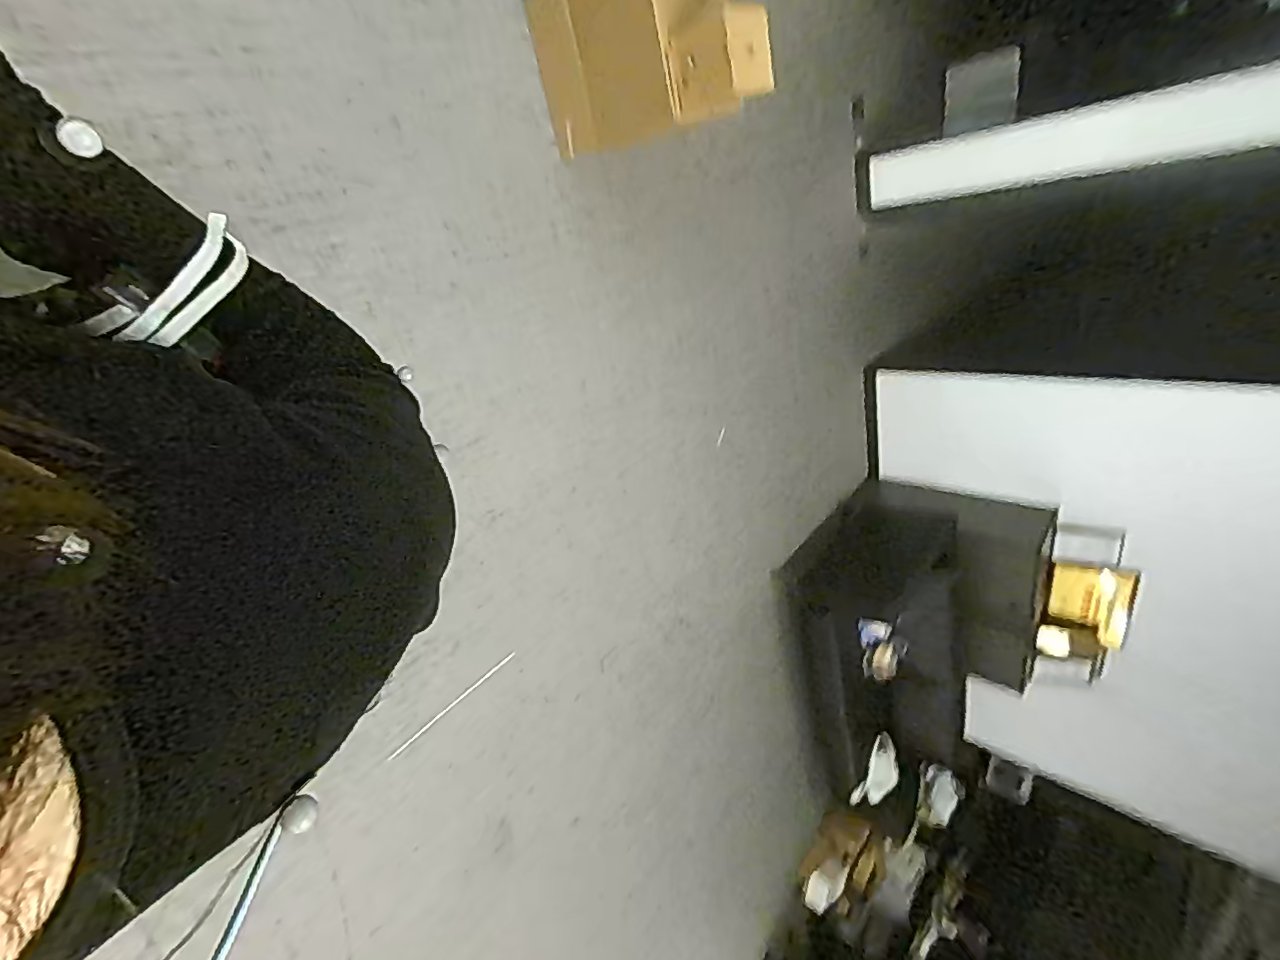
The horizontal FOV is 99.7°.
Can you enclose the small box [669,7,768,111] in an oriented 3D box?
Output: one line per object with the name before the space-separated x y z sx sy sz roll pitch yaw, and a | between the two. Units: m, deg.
small box | 0.197 -1.045 1.352 0.179 0.176 0.168 -35 123 -34
